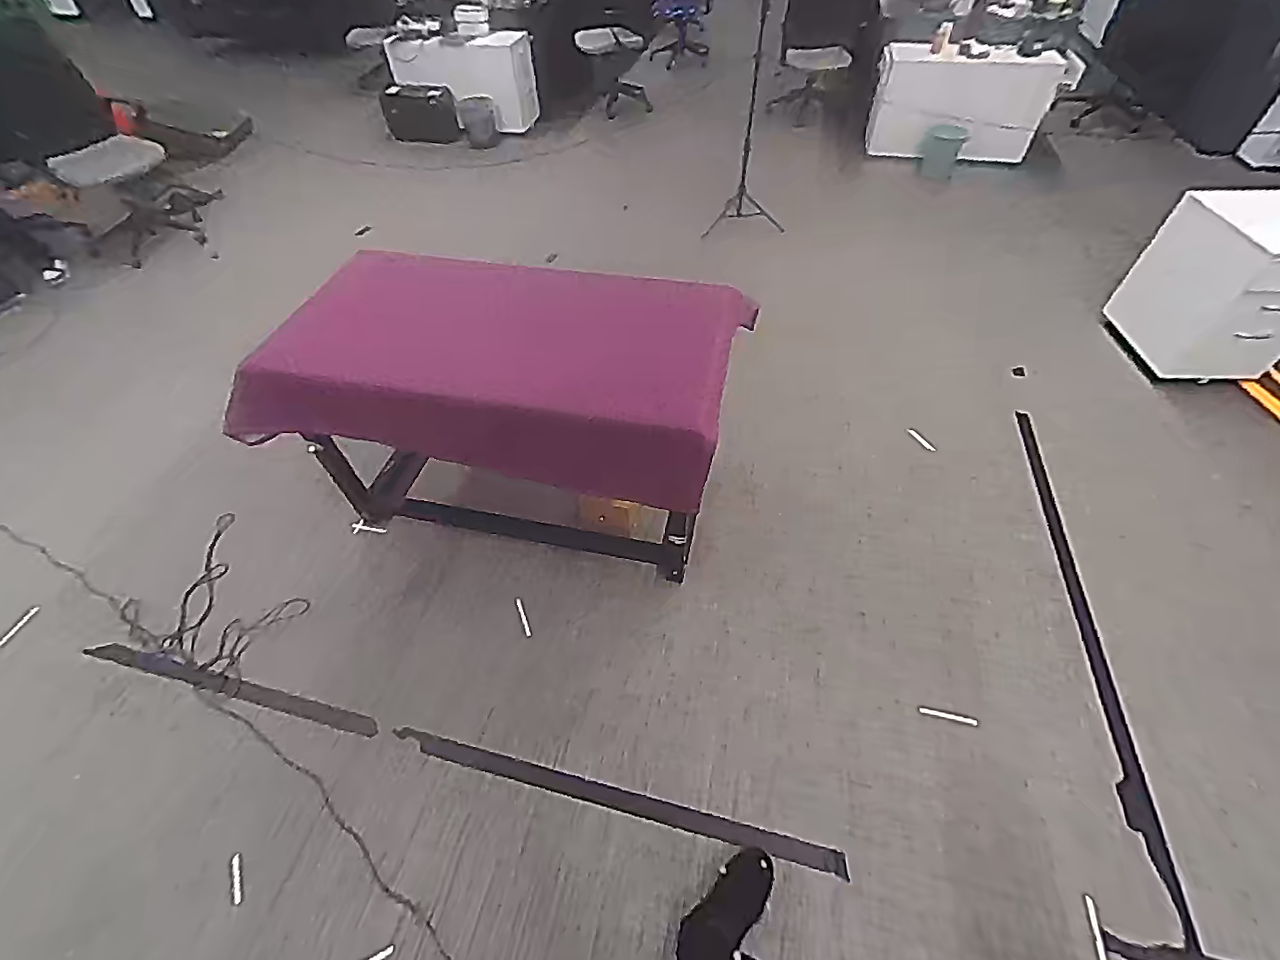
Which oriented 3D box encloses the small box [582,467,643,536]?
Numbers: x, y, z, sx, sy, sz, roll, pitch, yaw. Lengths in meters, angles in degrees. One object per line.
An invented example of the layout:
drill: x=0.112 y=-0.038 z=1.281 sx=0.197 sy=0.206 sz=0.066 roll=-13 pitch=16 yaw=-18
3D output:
small box: x=-0.090 y=0.079 z=1.903 sx=0.179 sy=0.176 sz=0.168 roll=10 pitch=51 yaw=11
